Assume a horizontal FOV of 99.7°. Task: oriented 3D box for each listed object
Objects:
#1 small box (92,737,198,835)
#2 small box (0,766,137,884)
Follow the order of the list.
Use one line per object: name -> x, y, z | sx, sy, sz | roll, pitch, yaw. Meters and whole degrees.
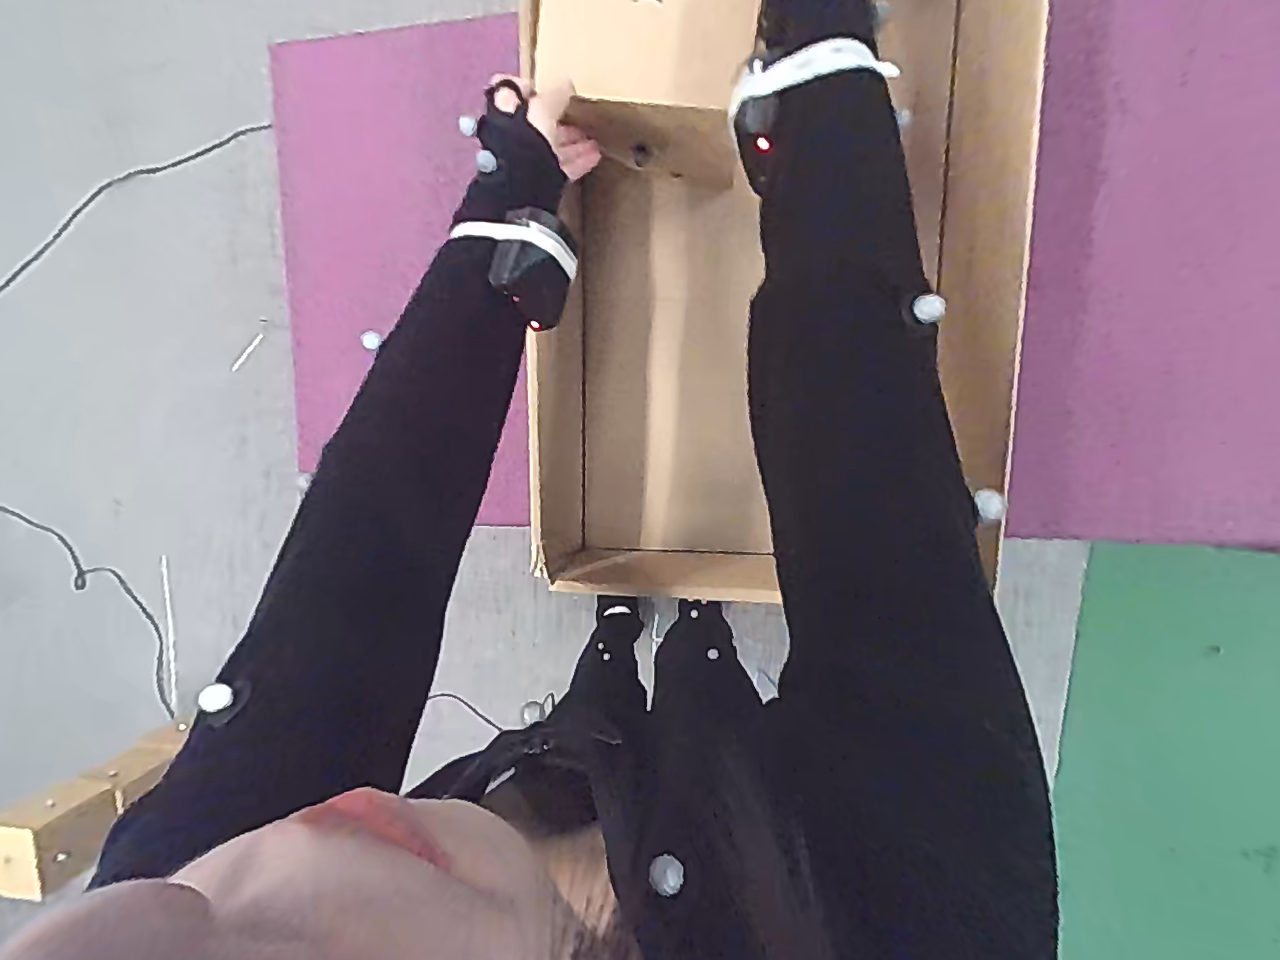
small box -> -1.368, 0.837, 1.495 | 0.179, 0.176, 0.168 | 0, 96, 11
small box -> -1.403, 0.841, 1.335 | 0.168, 0.176, 0.179 | 1, 97, 10
